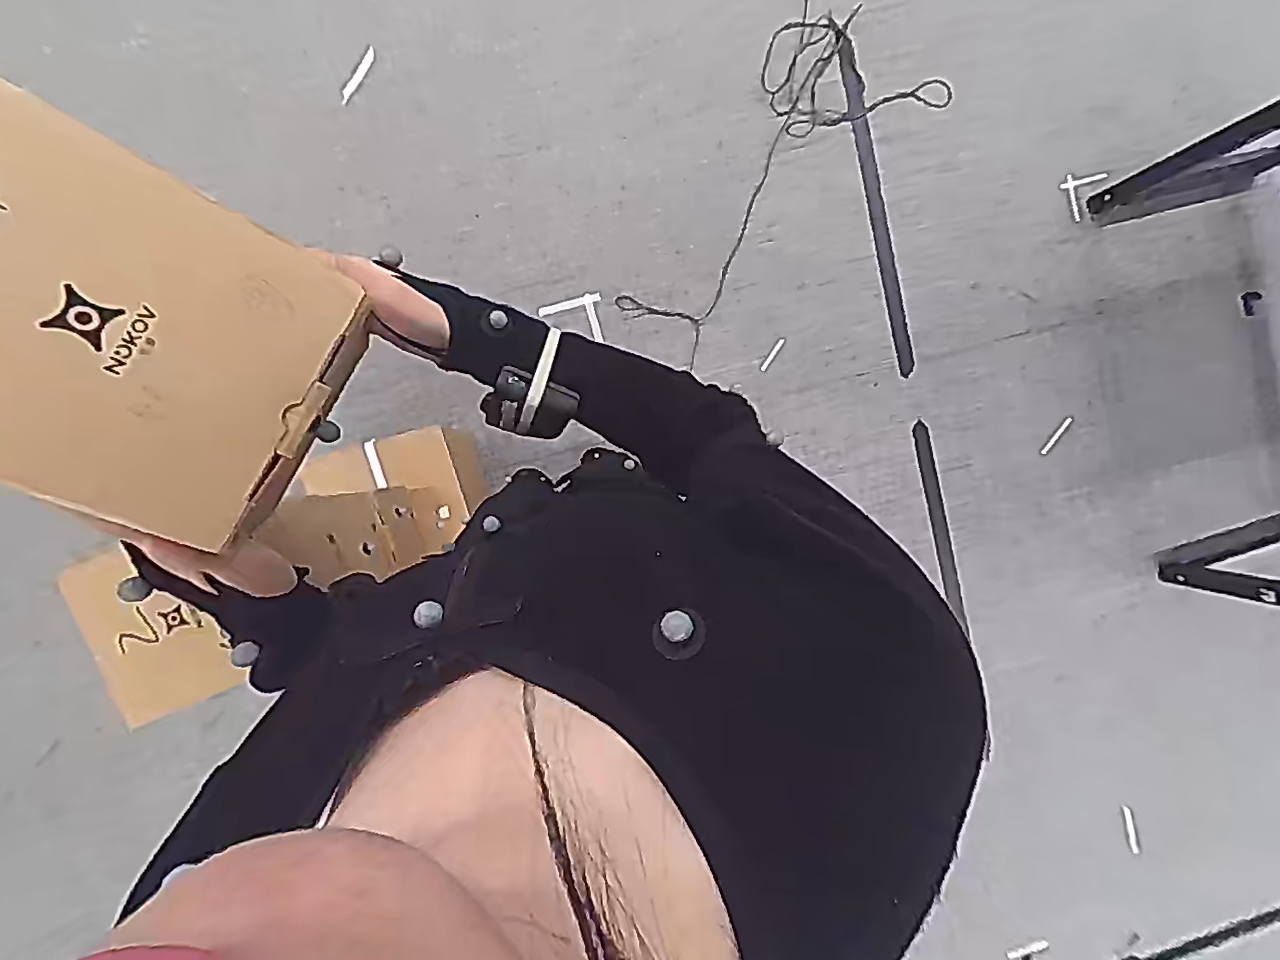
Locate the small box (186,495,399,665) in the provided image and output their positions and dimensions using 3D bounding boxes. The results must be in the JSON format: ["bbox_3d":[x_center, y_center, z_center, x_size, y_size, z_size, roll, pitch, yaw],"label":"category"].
[{"bbox_3d":[-0.468,0.127,0.766,0.179,0.176,0.168,-23,93,-5],"label":"small box"}]

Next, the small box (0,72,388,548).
[{"bbox_3d":[-0.283,-0.078,0.333,0.179,0.176,0.168,29,80,-26],"label":"small box"}]

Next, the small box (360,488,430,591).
[{"bbox_3d":[-0.481,0.116,0.930,0.179,0.176,0.168,-19,93,-4],"label":"small box"}]

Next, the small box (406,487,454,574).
[{"bbox_3d":[-0.501,0.117,1.091,0.179,0.176,0.168,-17,94,-5],"label":"small box"}]
